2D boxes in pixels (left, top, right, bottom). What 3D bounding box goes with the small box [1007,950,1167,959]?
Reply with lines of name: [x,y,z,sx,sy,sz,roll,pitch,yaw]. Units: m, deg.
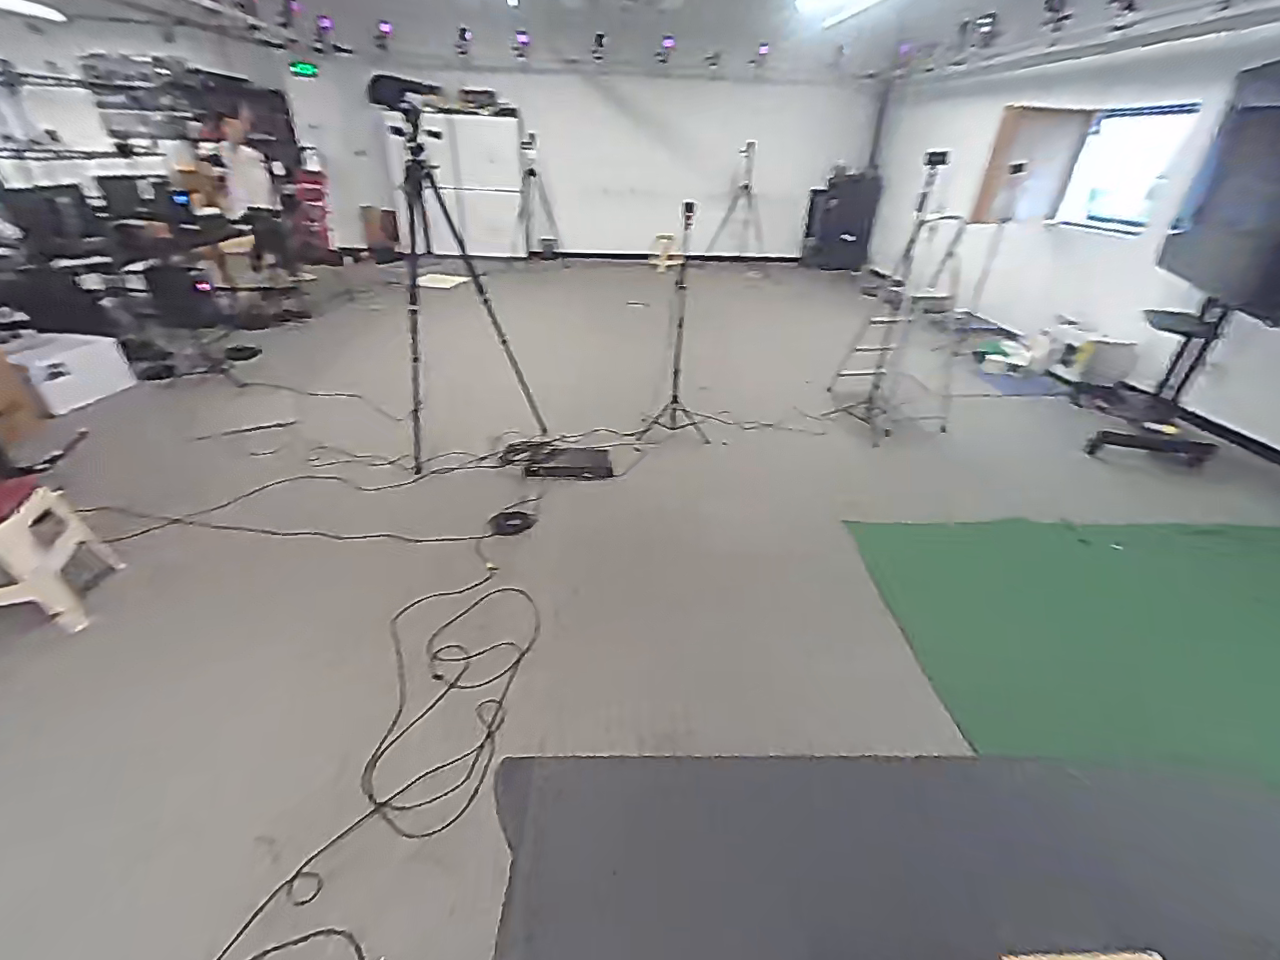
small box: [0.443,0.585,0.506,0.168,0.176,0.179,0,31,-2]
